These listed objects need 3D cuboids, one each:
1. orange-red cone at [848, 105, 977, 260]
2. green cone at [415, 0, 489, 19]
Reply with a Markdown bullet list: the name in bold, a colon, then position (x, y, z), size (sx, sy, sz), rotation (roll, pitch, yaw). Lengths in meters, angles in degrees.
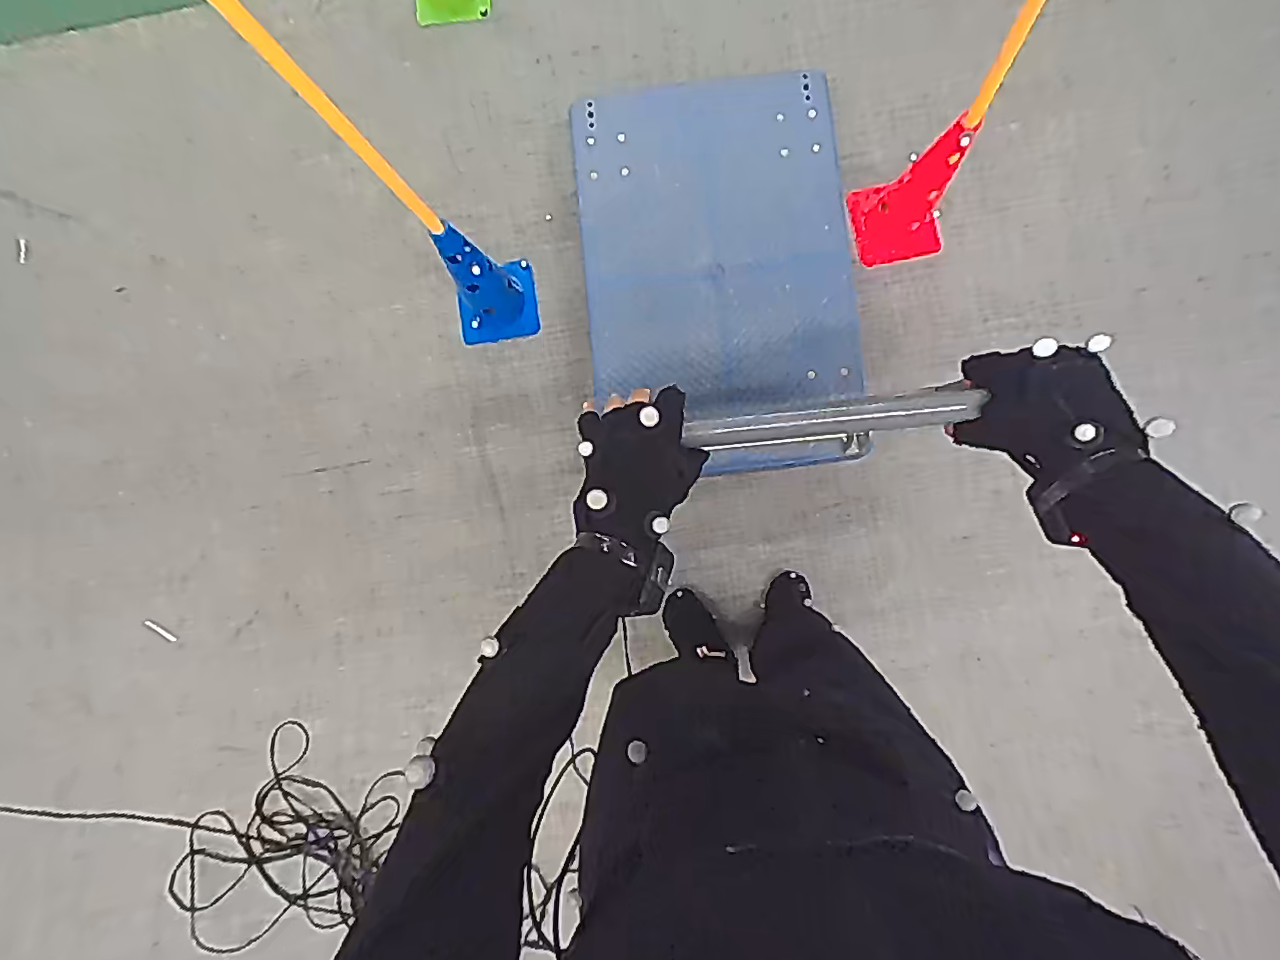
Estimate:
- **orange-red cone**: position (0.614, -0.661, 1.168), size (0.199, 0.360, 0.198), rotation (-10, 86, 4)
- **green cone**: position (-0.514, -1.339, 1.263), size (0.202, 0.368, 0.200), rotation (-5, 86, 4)
